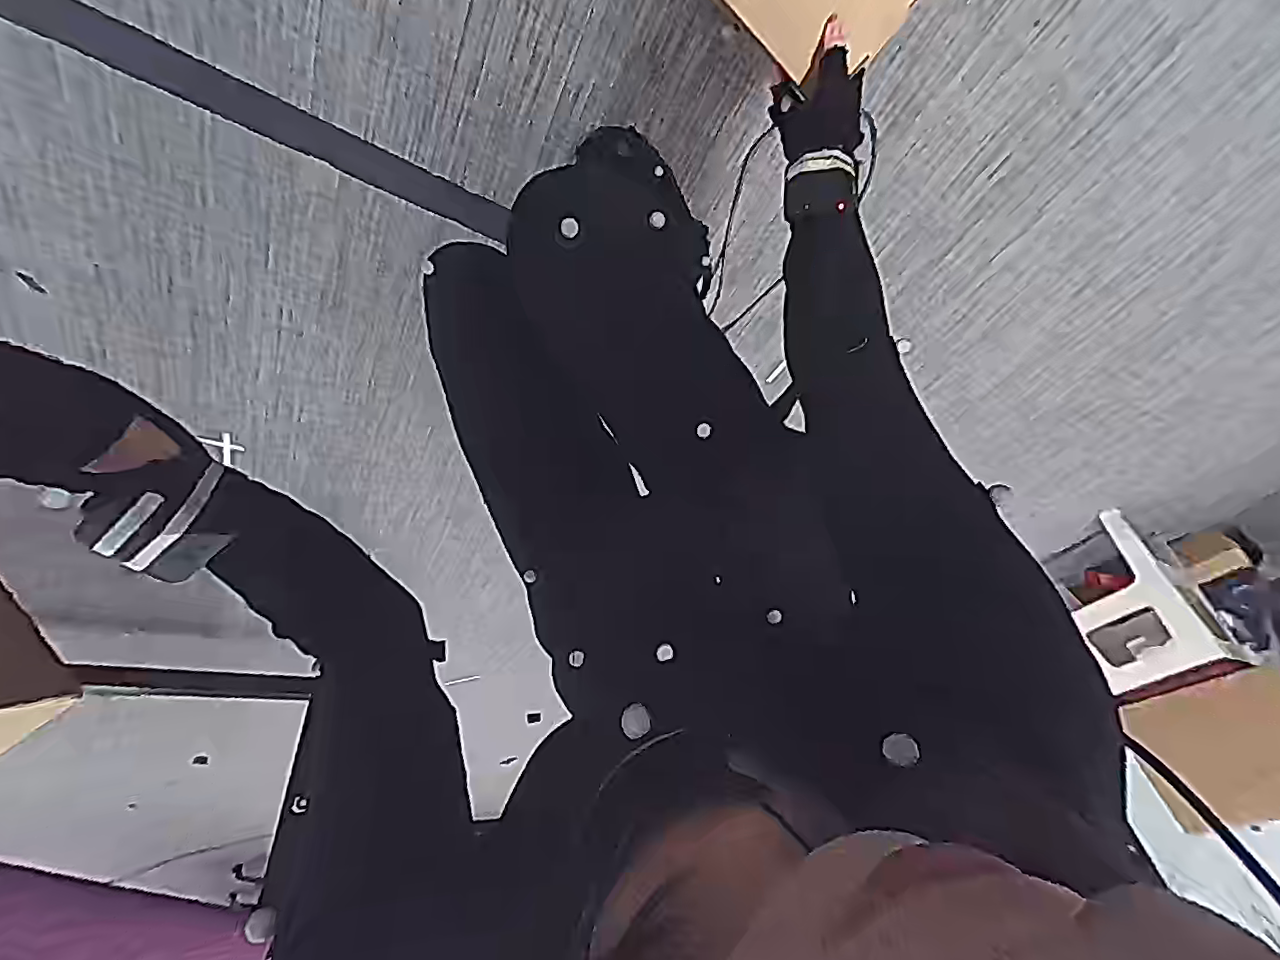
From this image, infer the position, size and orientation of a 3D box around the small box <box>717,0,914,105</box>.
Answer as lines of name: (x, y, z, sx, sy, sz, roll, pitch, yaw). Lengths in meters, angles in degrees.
small box: (0.161, -0.521, 0.521, 0.179, 0.176, 0.168, 22, 131, -33)
